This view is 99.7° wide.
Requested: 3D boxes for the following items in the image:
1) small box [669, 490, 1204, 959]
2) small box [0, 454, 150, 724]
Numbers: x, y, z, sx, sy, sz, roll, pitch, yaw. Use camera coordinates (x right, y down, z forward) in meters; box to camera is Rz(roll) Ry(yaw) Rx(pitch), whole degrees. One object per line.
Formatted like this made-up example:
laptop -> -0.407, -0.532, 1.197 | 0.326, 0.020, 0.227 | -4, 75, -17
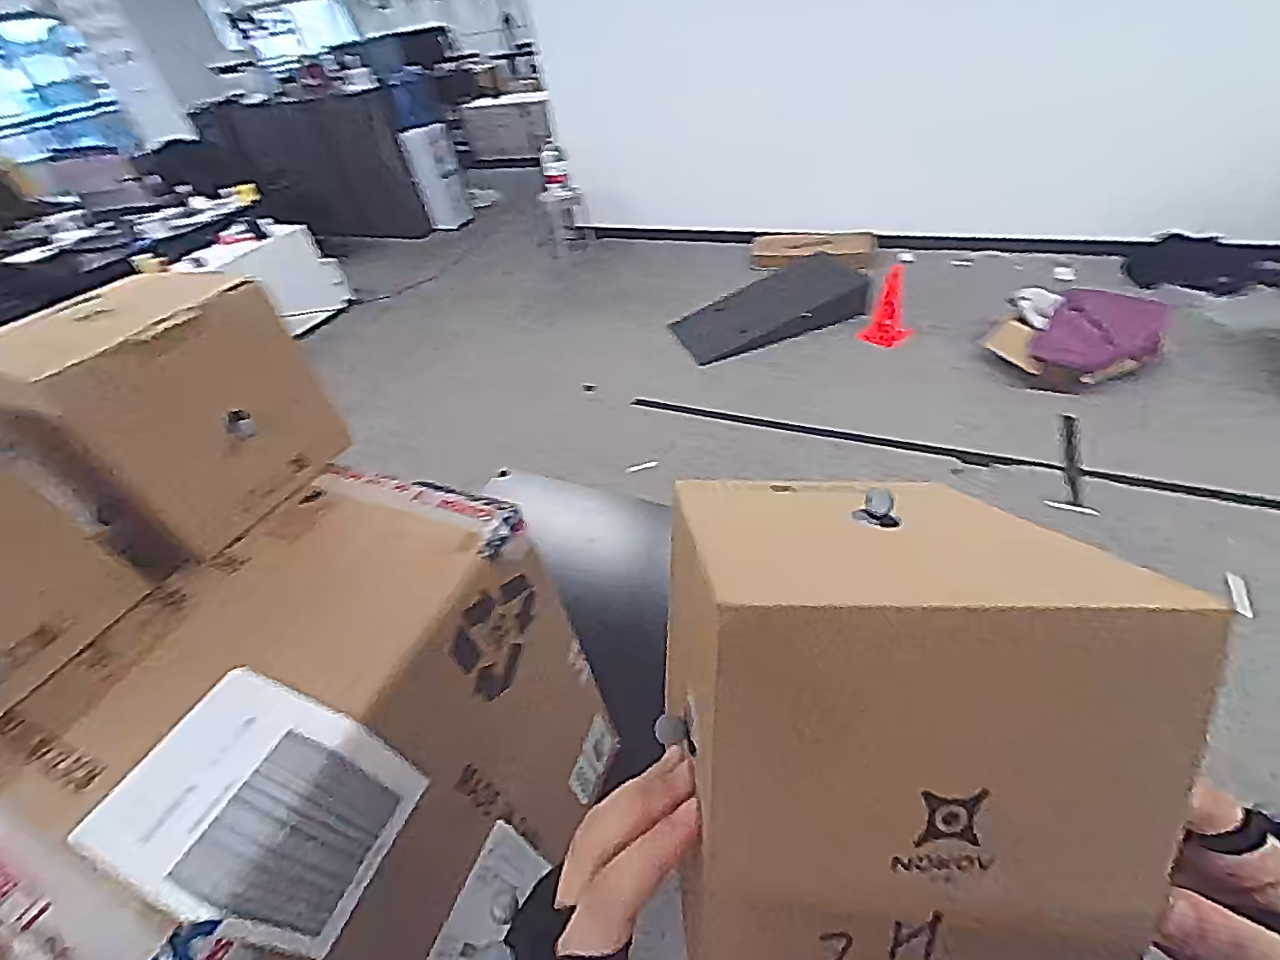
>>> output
small box -> 0.102, 0.105, 0.272 | 0.168, 0.179, 0.176 | 1, 12, 0
small box -> -0.497, 0.070, 0.349 | 0.179, 0.176, 0.168 | 6, 45, 20
